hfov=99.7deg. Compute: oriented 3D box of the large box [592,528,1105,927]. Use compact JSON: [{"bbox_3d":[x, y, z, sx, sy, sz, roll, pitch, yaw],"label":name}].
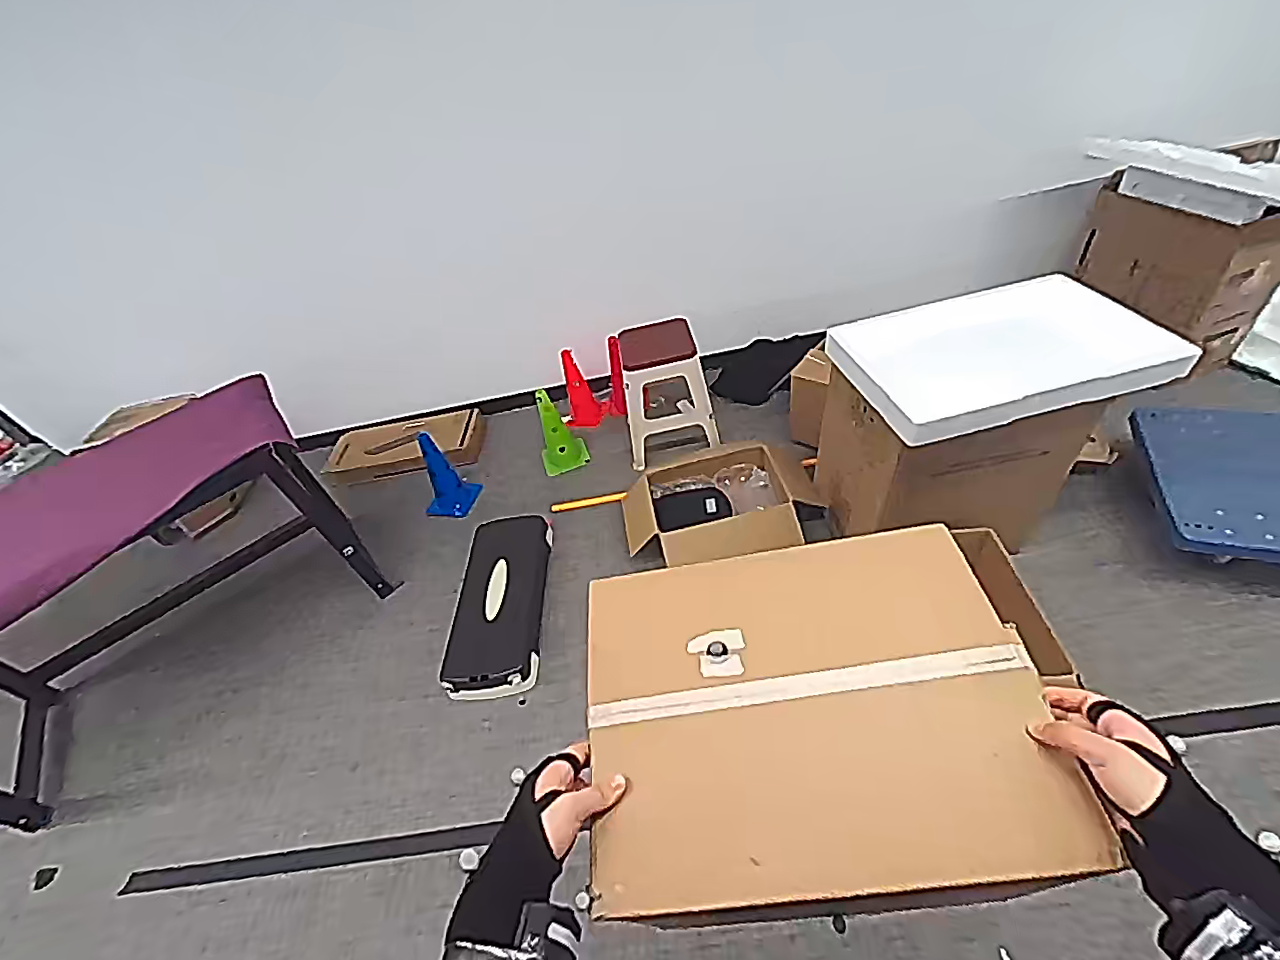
[{"bbox_3d":[0.182,0.302,0.633,0.408,0.320,0.320,-12,46,7],"label":"large box"}]
